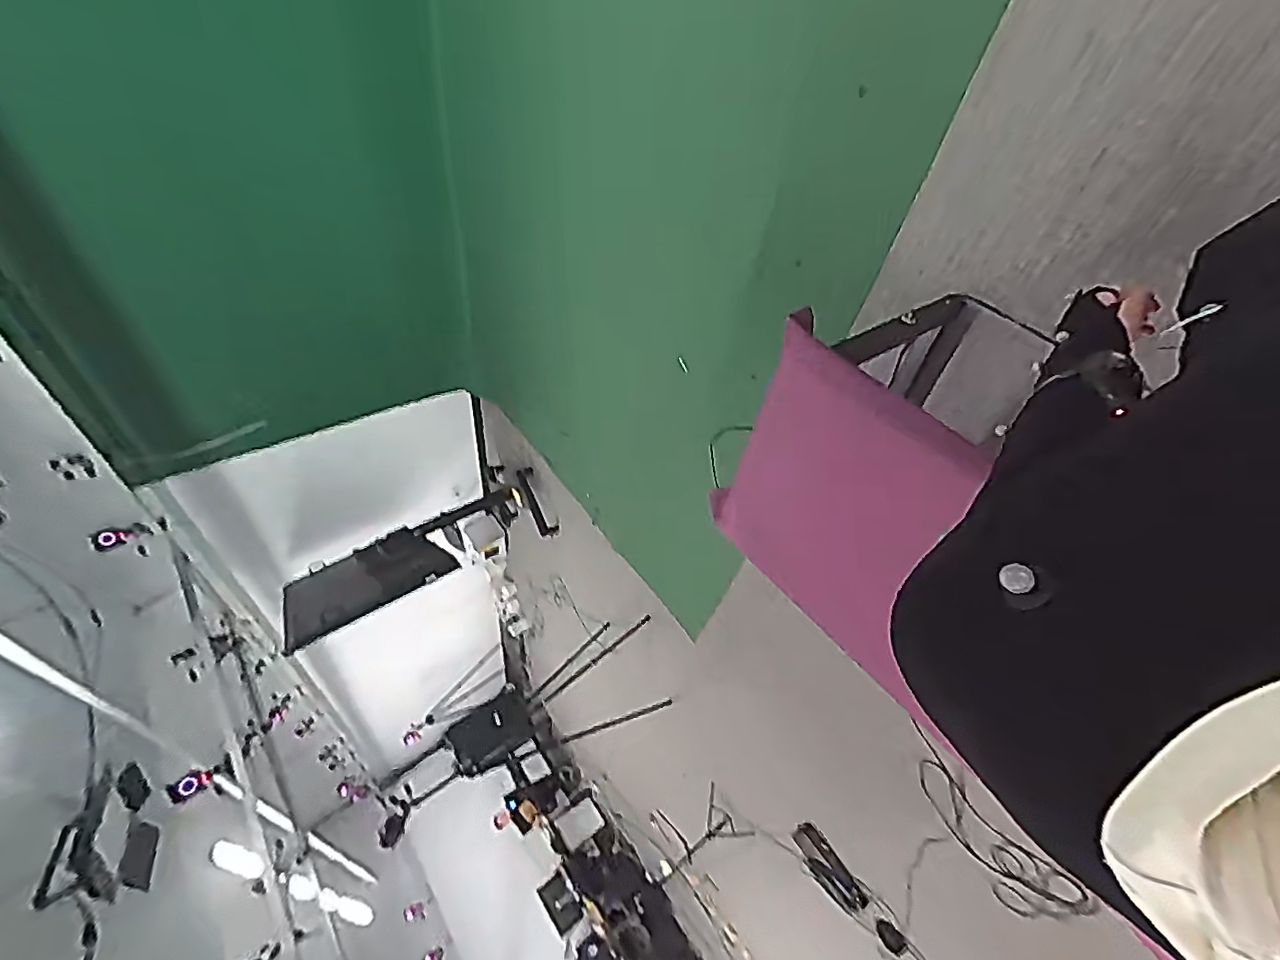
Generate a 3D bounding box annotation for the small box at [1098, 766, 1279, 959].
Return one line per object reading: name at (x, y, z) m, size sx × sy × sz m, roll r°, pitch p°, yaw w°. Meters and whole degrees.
small box at (0.829, 0.542, 0.773) m, size 0.179 × 0.176 × 0.168 m, roll 47°, pitch 146°, yaw 29°
